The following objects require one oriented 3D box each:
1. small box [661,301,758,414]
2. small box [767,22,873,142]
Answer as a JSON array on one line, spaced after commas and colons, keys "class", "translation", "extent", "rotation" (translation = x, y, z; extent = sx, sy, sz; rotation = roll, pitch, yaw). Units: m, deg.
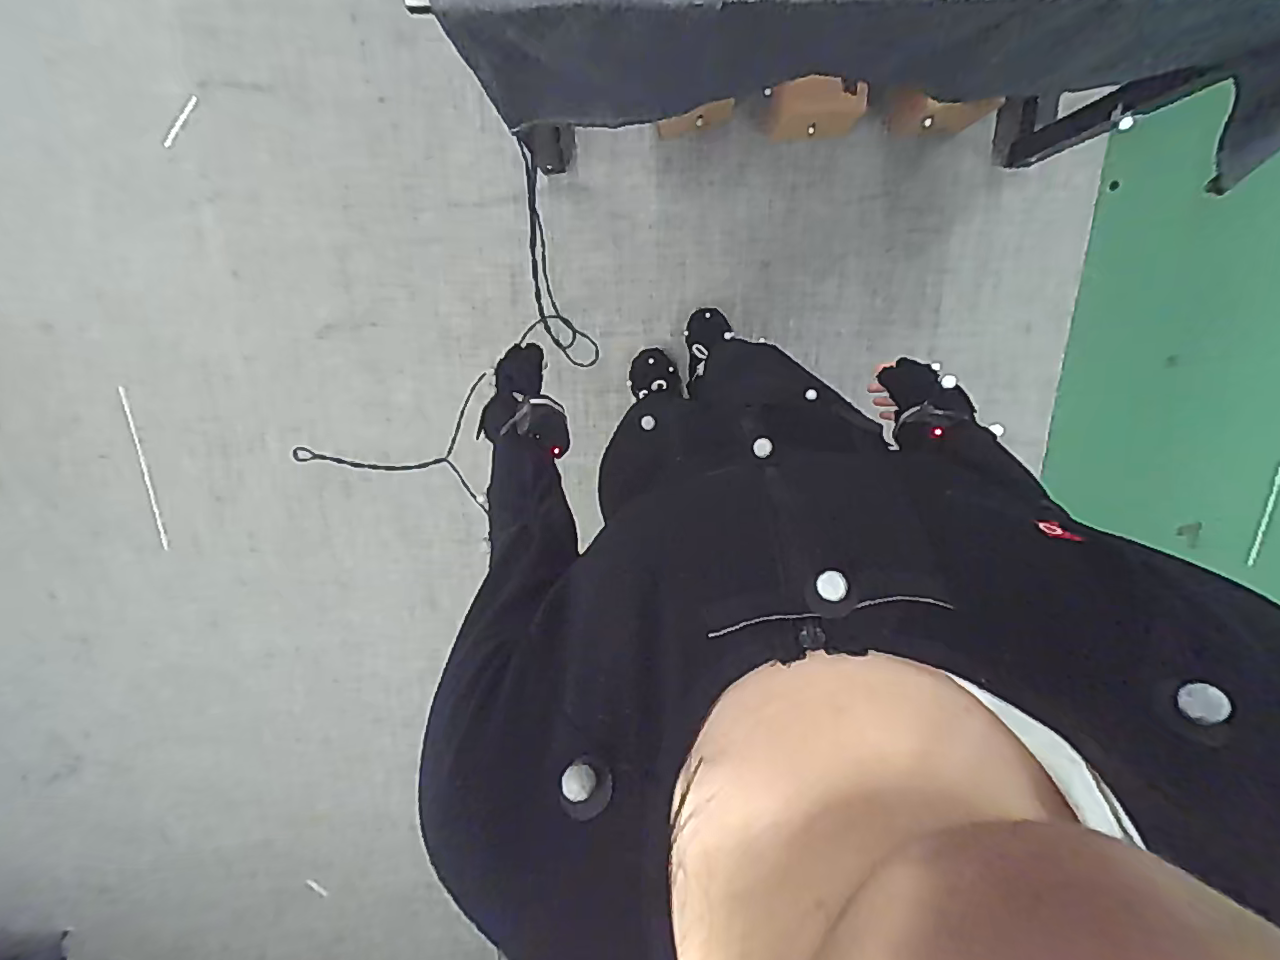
[{"class": "small box", "translation": [0.170, -0.300, 1.346], "extent": [0.168, 0.176, 0.179], "rotation": [38, 79, 18]}, {"class": "small box", "translation": [0.385, -0.862, 1.185], "extent": [0.179, 0.176, 0.168], "rotation": [-2, 105, 2]}]
